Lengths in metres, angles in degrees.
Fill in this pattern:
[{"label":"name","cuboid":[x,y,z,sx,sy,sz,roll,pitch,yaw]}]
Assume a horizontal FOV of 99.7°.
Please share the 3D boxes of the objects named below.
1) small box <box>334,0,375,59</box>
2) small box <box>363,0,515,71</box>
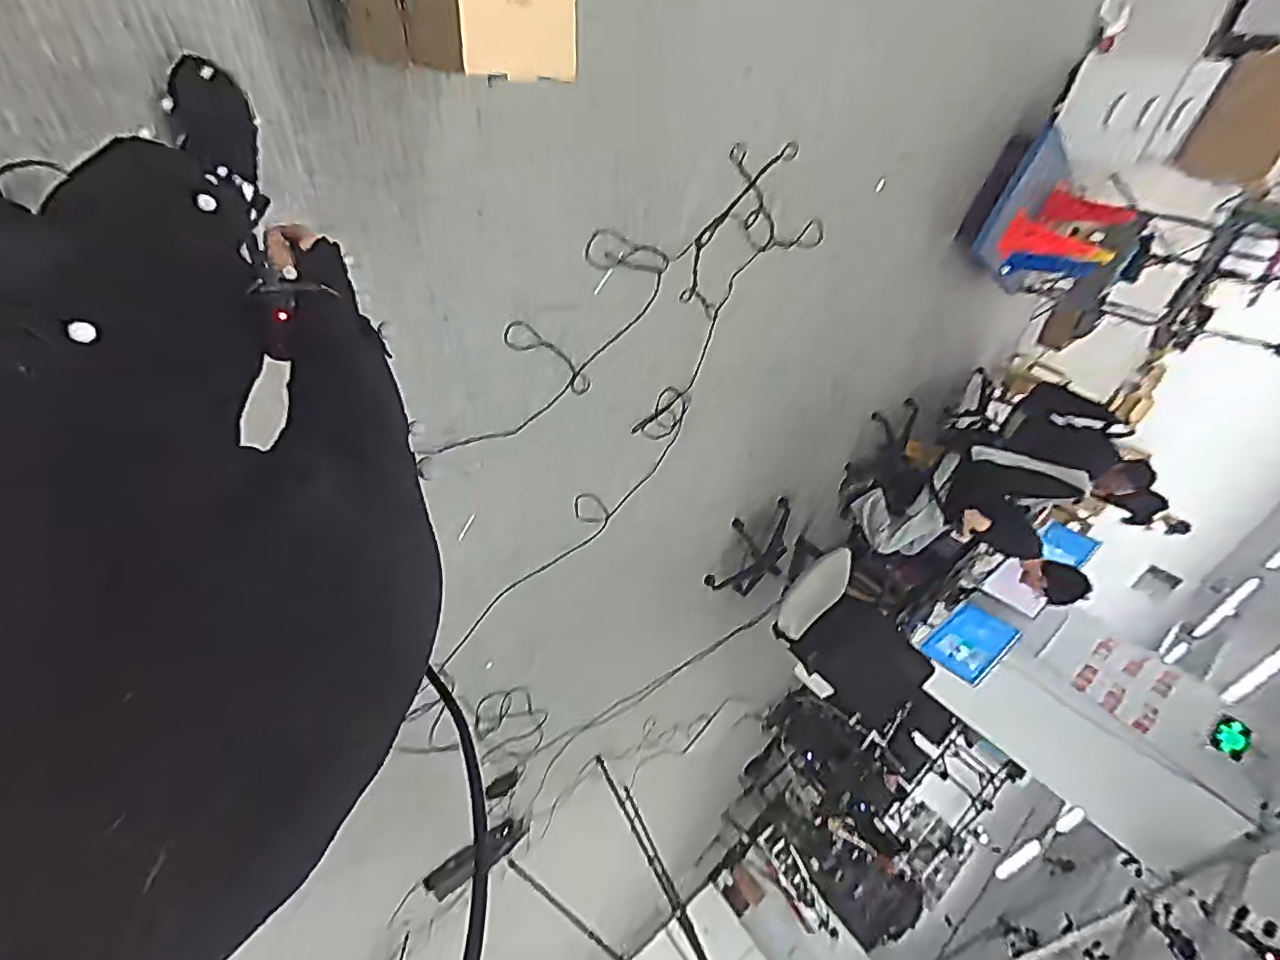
[{"label":"small box","cuboid":[-0.405,-0.815,0.920,0.179,0.176,0.168,-23,134,-33]},{"label":"small box","cuboid":[-0.313,-0.726,0.818,0.179,0.176,0.168,-25,136,-31]}]
